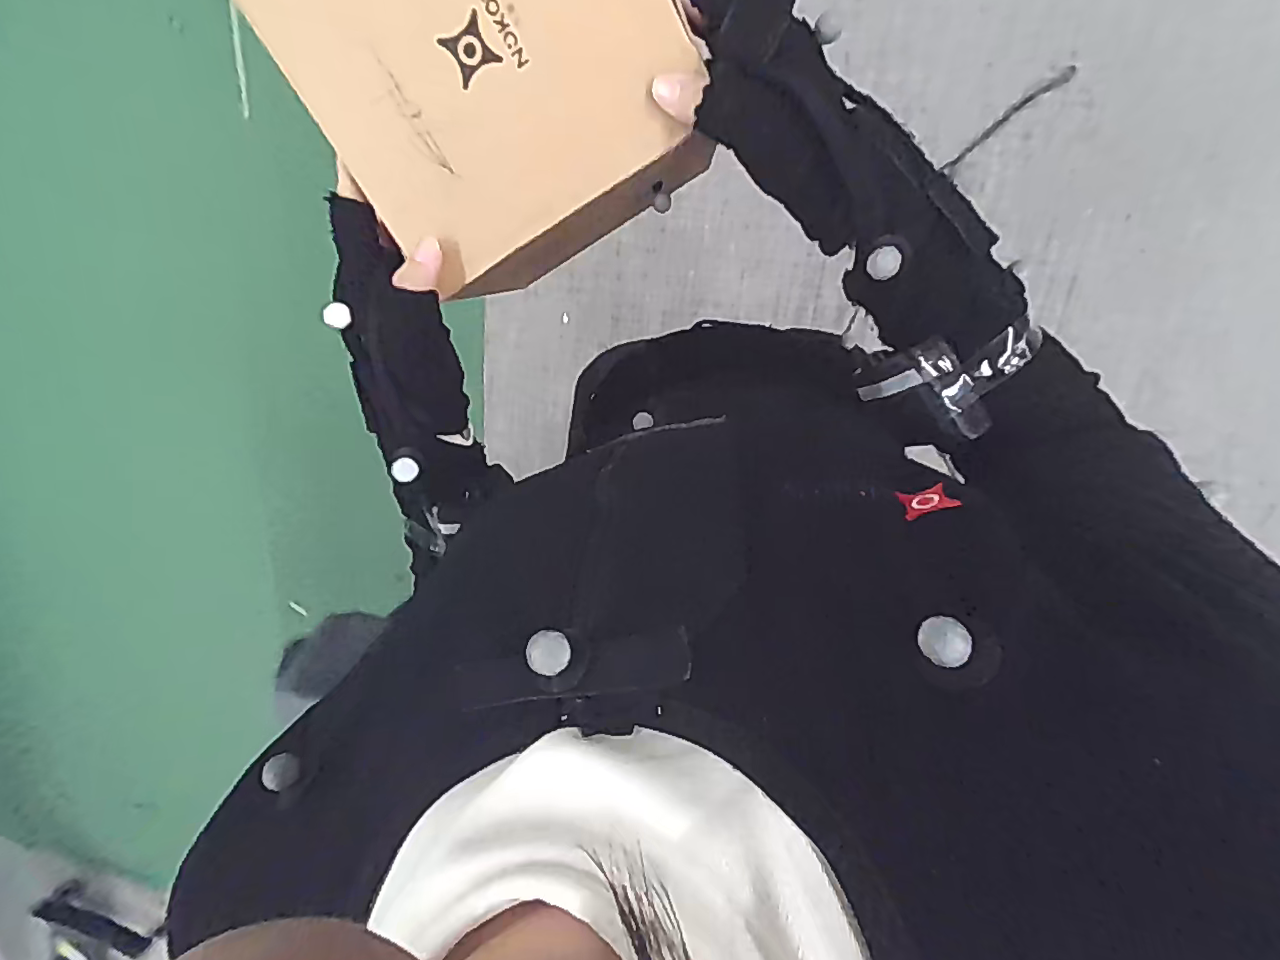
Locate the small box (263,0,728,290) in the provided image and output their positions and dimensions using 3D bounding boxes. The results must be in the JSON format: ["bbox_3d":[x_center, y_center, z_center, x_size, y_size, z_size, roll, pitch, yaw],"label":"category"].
[{"bbox_3d":[-0.064,-0.237,0.328,0.179,0.176,0.168,-26,107,15],"label":"small box"}]

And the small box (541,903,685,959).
[{"bbox_3d":[-0.050,0.679,0.673,0.179,0.176,0.168,9,110,10],"label":"small box"}]

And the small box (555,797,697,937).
[{"bbox_3d":[-0.016,0.624,0.823,0.179,0.176,0.168,6,109,12],"label":"small box"}]
